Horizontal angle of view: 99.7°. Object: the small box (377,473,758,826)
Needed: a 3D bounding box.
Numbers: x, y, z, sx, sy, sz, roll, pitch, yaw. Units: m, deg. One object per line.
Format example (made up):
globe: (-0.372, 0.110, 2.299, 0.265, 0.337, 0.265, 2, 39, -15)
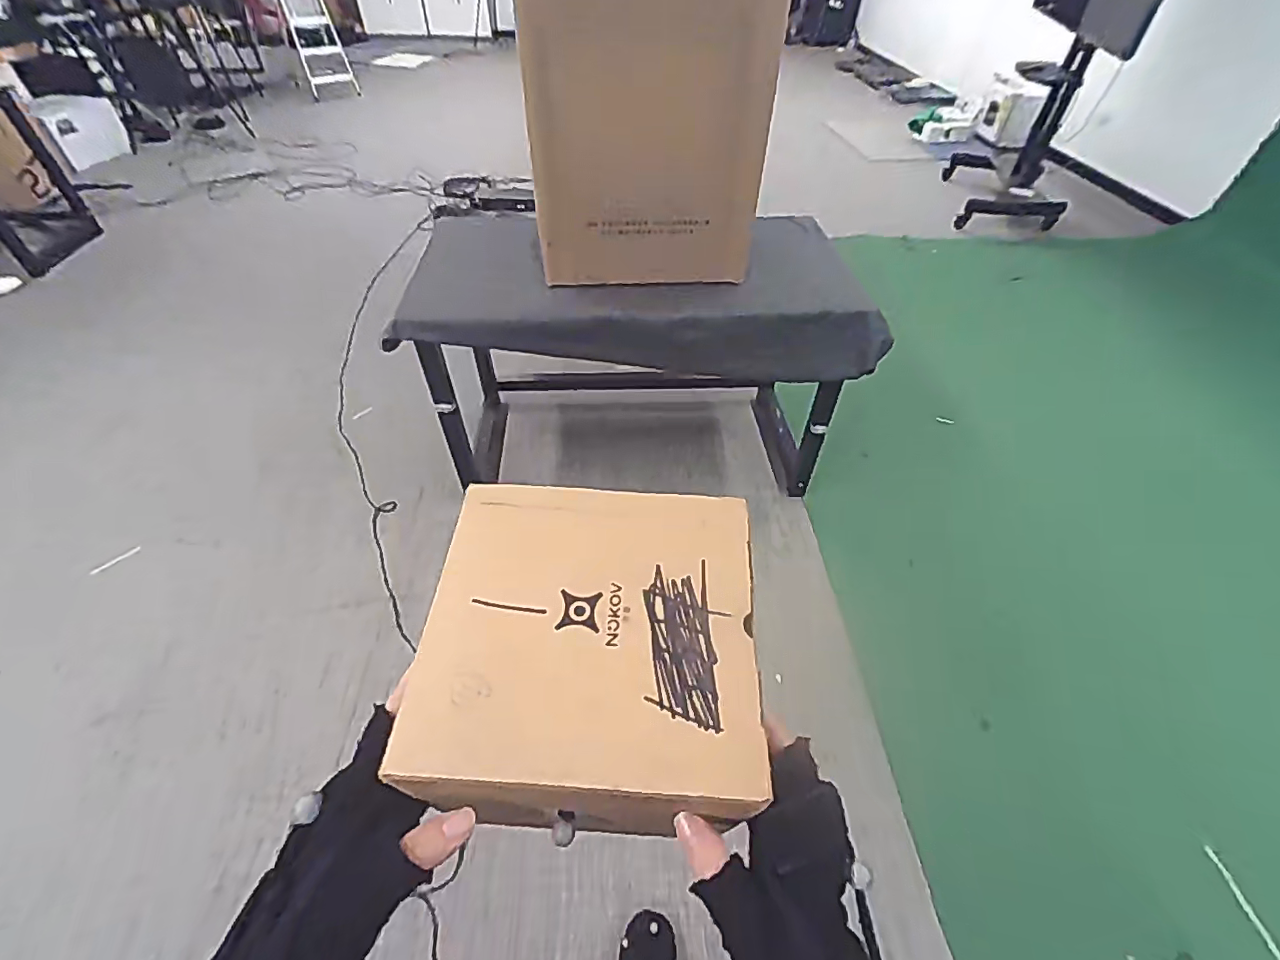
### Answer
small box: (-0.030, 0.117, 0.354, 0.179, 0.176, 0.168, 5, 51, 1)
